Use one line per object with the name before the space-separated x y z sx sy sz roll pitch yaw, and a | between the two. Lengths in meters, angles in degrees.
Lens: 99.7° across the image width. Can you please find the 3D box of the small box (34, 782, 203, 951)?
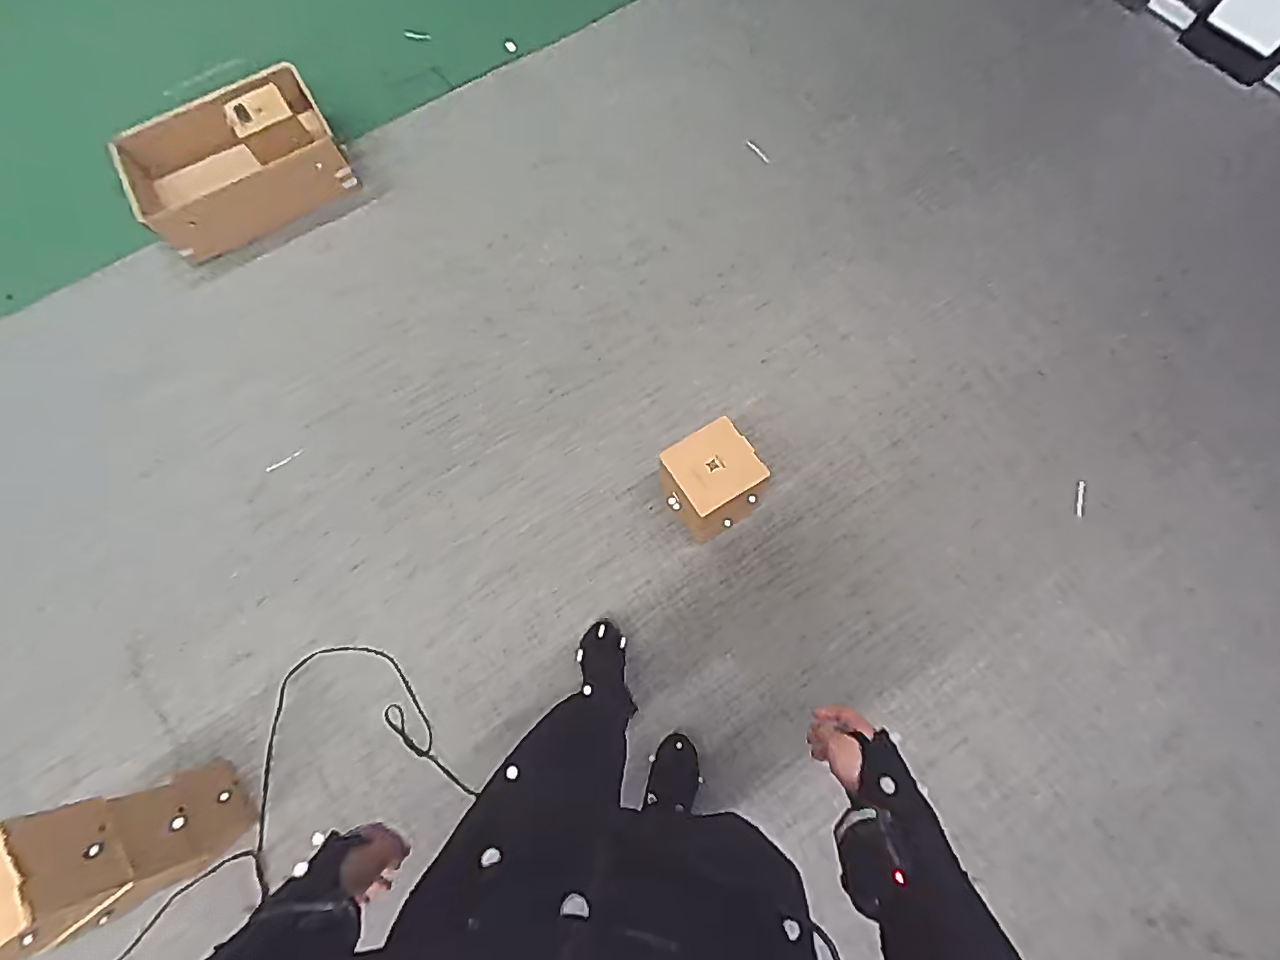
small box | -0.995 0.713 1.023 0.179 0.176 0.168 -36 74 -10

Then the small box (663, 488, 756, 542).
small box | 0.166 0.033 1.363 0.168 0.176 0.179 -32 73 -7

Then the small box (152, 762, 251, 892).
small box | -1.001 0.753 1.182 0.179 0.176 0.168 -40 74 -9

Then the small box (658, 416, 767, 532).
small box | 0.153 -0.008 1.206 0.179 0.176 0.168 -32 72 -7

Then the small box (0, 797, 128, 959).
small box | -1.002 0.655 0.871 0.179 0.176 0.168 -37 74 -10
